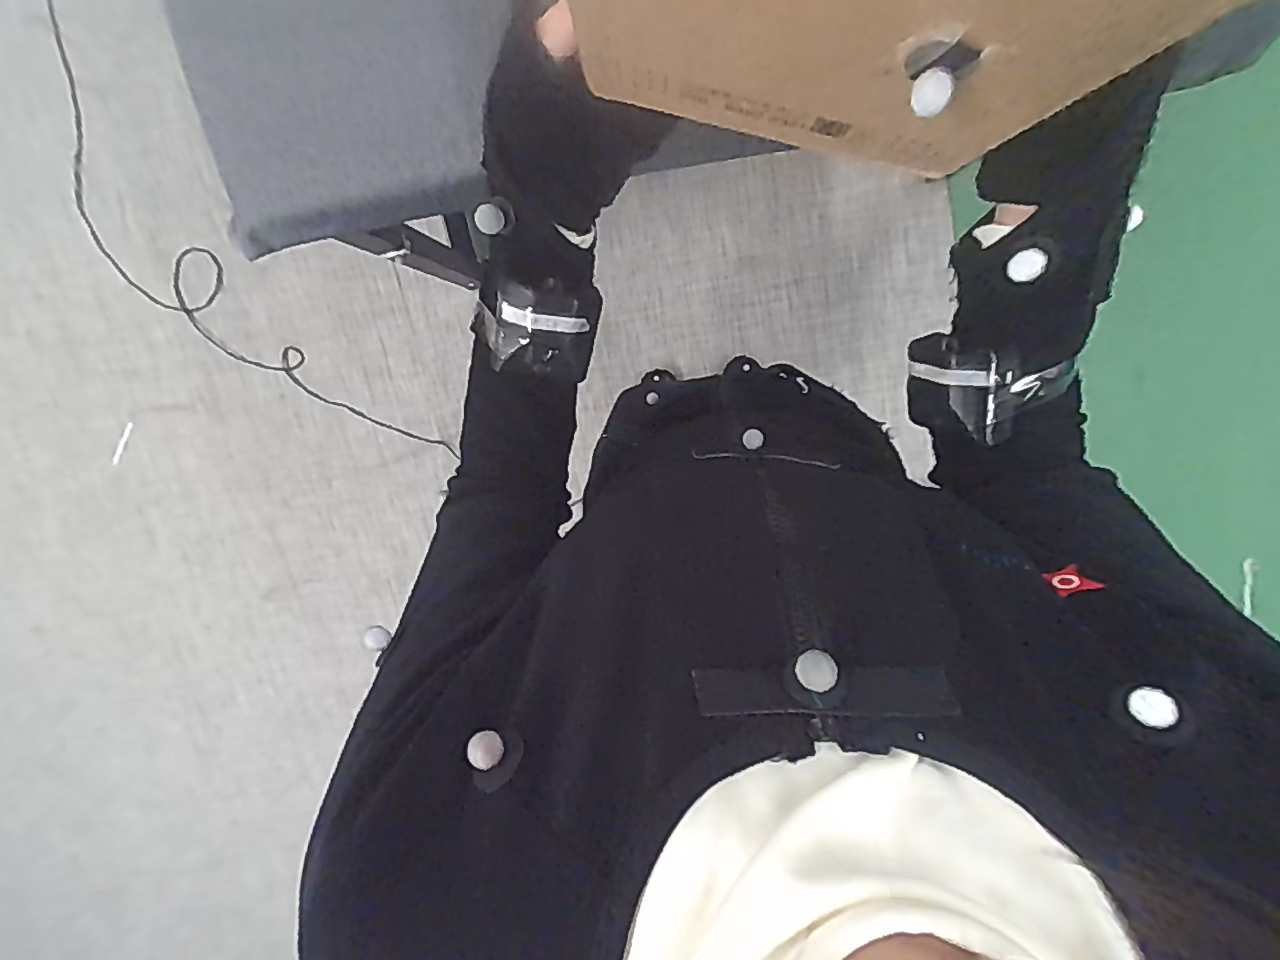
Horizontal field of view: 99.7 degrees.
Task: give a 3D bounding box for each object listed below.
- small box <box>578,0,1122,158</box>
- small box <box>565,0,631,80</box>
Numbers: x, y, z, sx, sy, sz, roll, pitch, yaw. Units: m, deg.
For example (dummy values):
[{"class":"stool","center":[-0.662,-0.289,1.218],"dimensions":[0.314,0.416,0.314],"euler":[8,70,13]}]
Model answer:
[{"class":"small box","center":[0.072,-0.224,0.153],"dimensions":[0.168,0.176,0.179],"euler":[12,103,-3]},{"class":"small box","center":[0.008,-0.519,0.511],"dimensions":[0.179,0.176,0.168],"euler":[-7,100,4]}]
